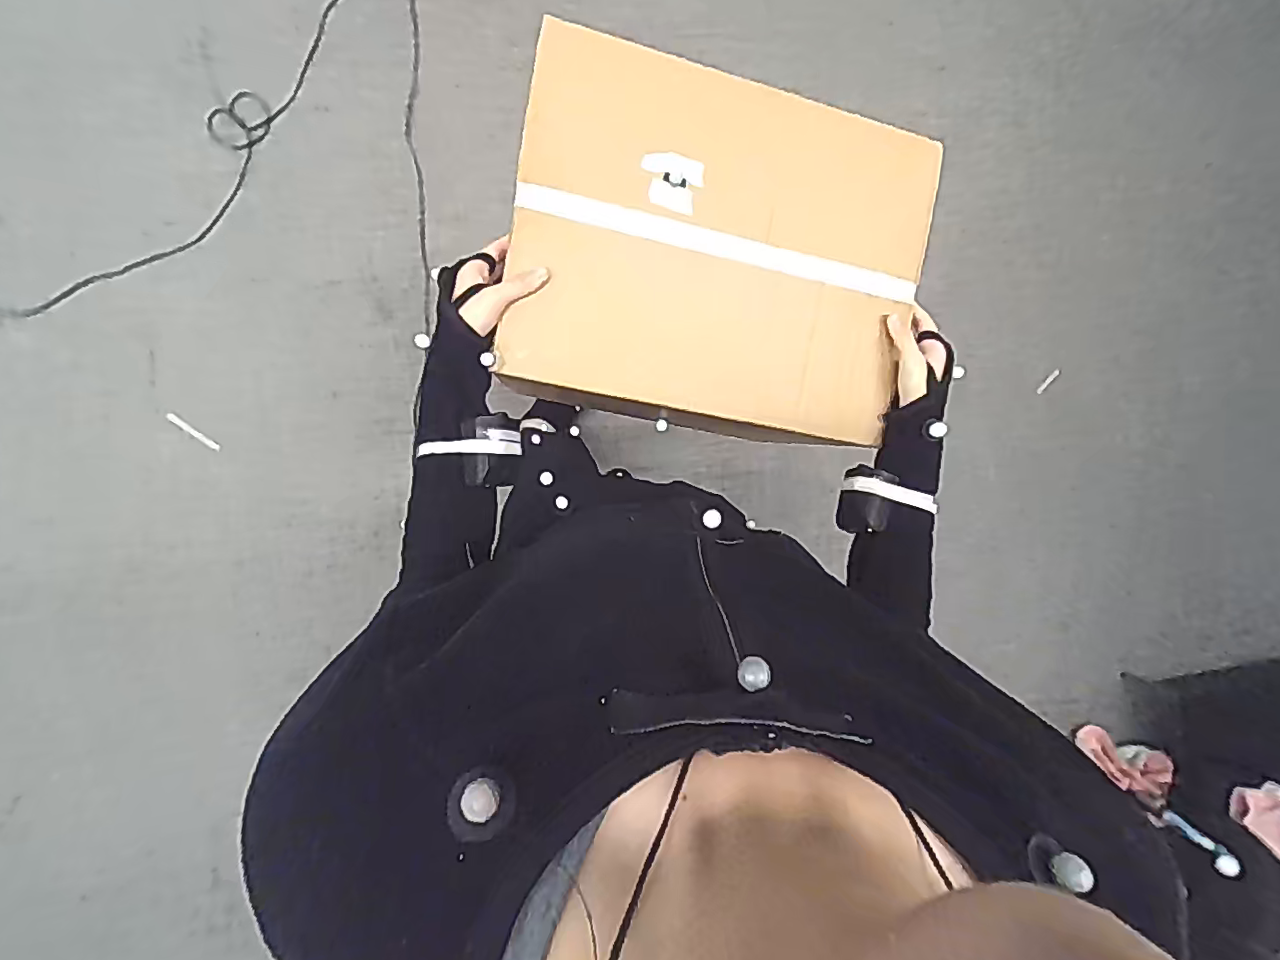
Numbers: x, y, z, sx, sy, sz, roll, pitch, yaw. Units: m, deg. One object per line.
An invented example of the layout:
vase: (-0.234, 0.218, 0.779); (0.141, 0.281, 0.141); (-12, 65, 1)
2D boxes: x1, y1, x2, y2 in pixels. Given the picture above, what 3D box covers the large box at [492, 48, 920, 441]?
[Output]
large box: (0.053, -0.232, 0.680); (0.408, 0.320, 0.320); (9, 93, -10)
